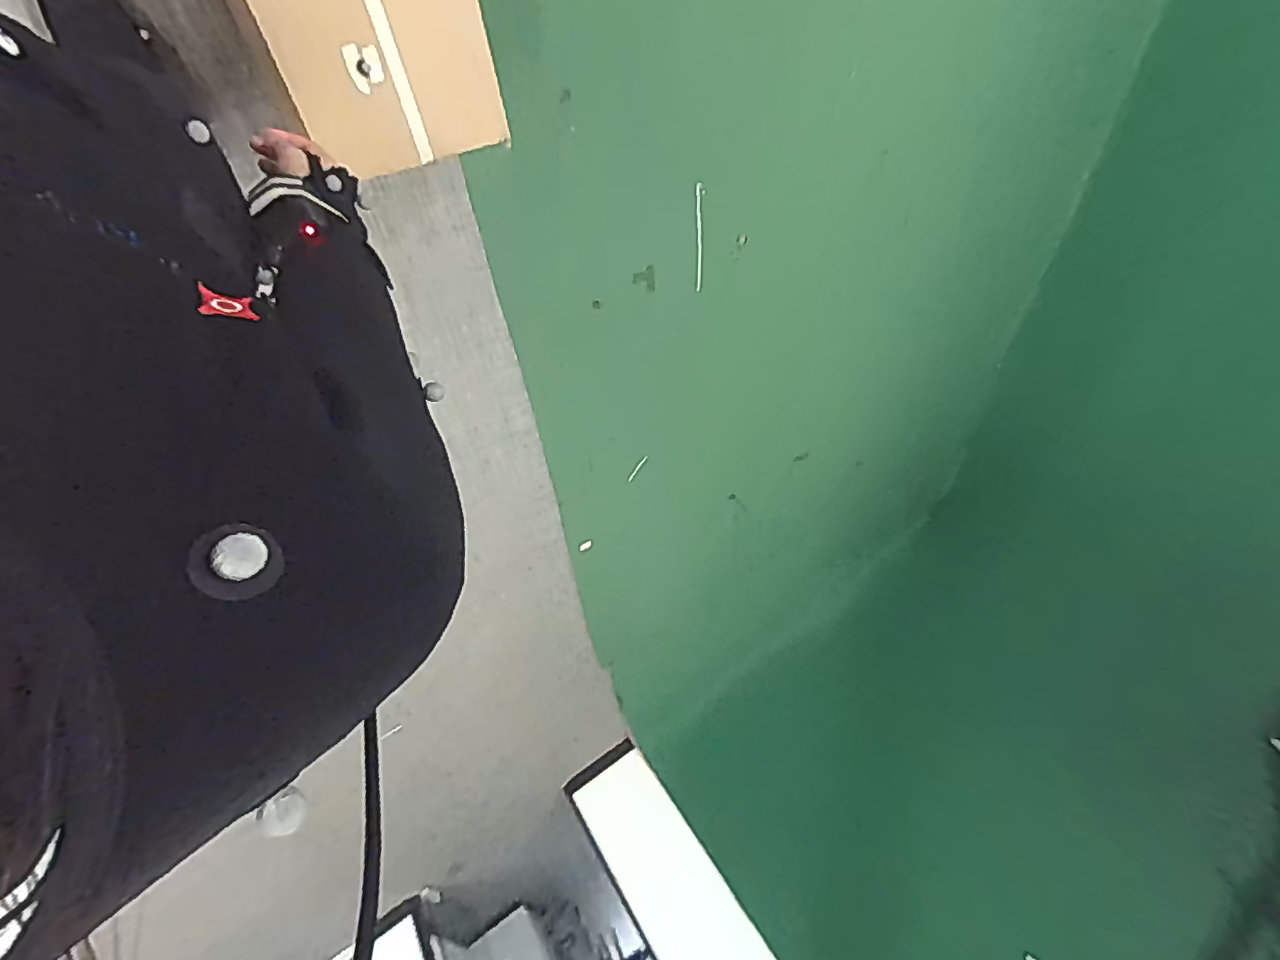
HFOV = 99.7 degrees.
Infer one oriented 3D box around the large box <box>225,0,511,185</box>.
[{"bbox_3d":[-0.461,-0.752,0.856,0.320,0.320,0.408,-29,138,-19],"label":"large box"}]
